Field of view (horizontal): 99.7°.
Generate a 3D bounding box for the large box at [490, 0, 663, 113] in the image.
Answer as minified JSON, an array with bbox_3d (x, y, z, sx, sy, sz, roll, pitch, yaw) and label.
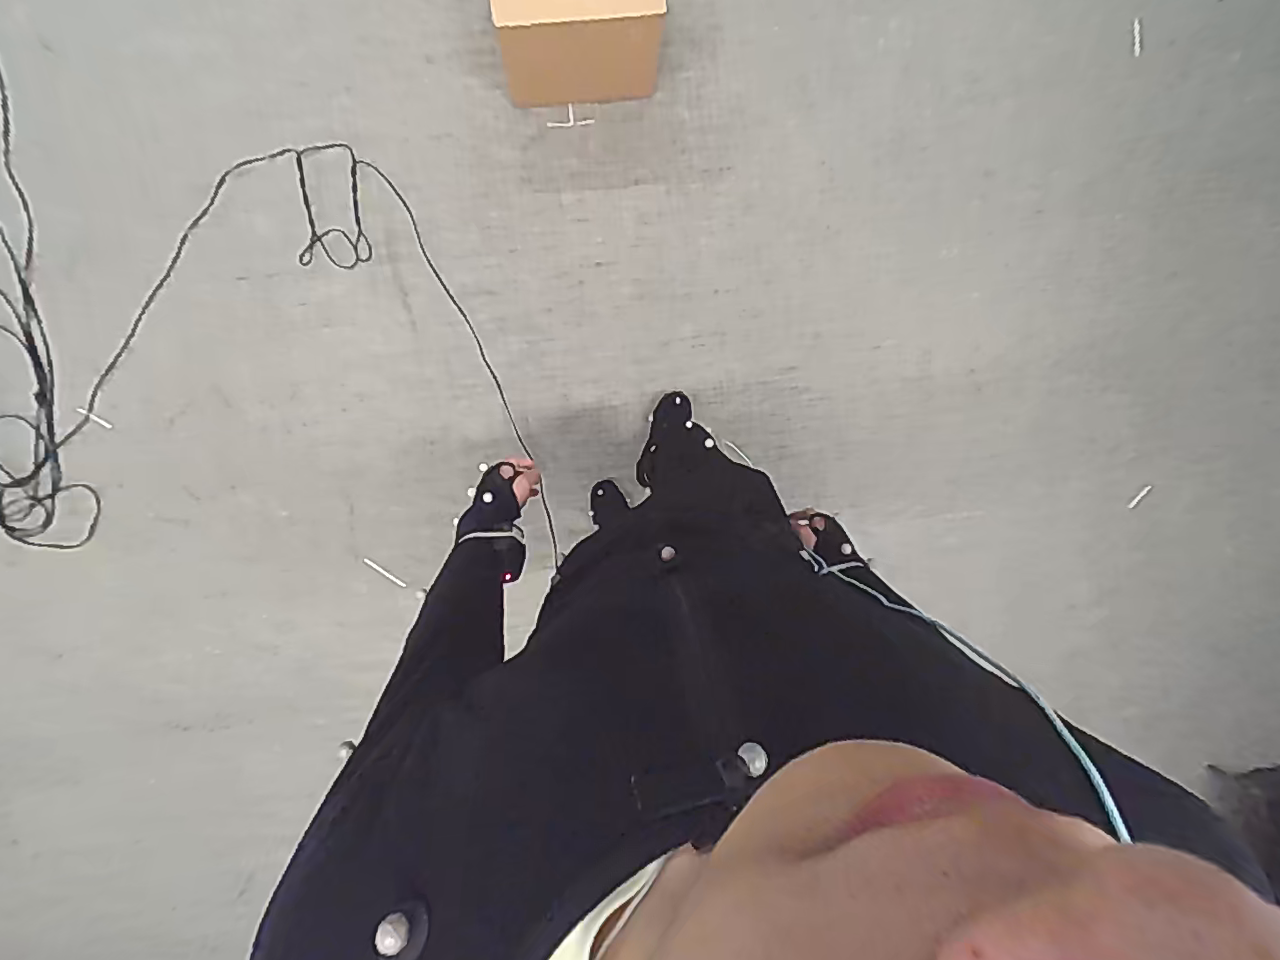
[{"bbox_3d":[-0.176,-1.218,1.397,0.408,0.320,0.320,-9,95,-4],"label":"large box"}]
